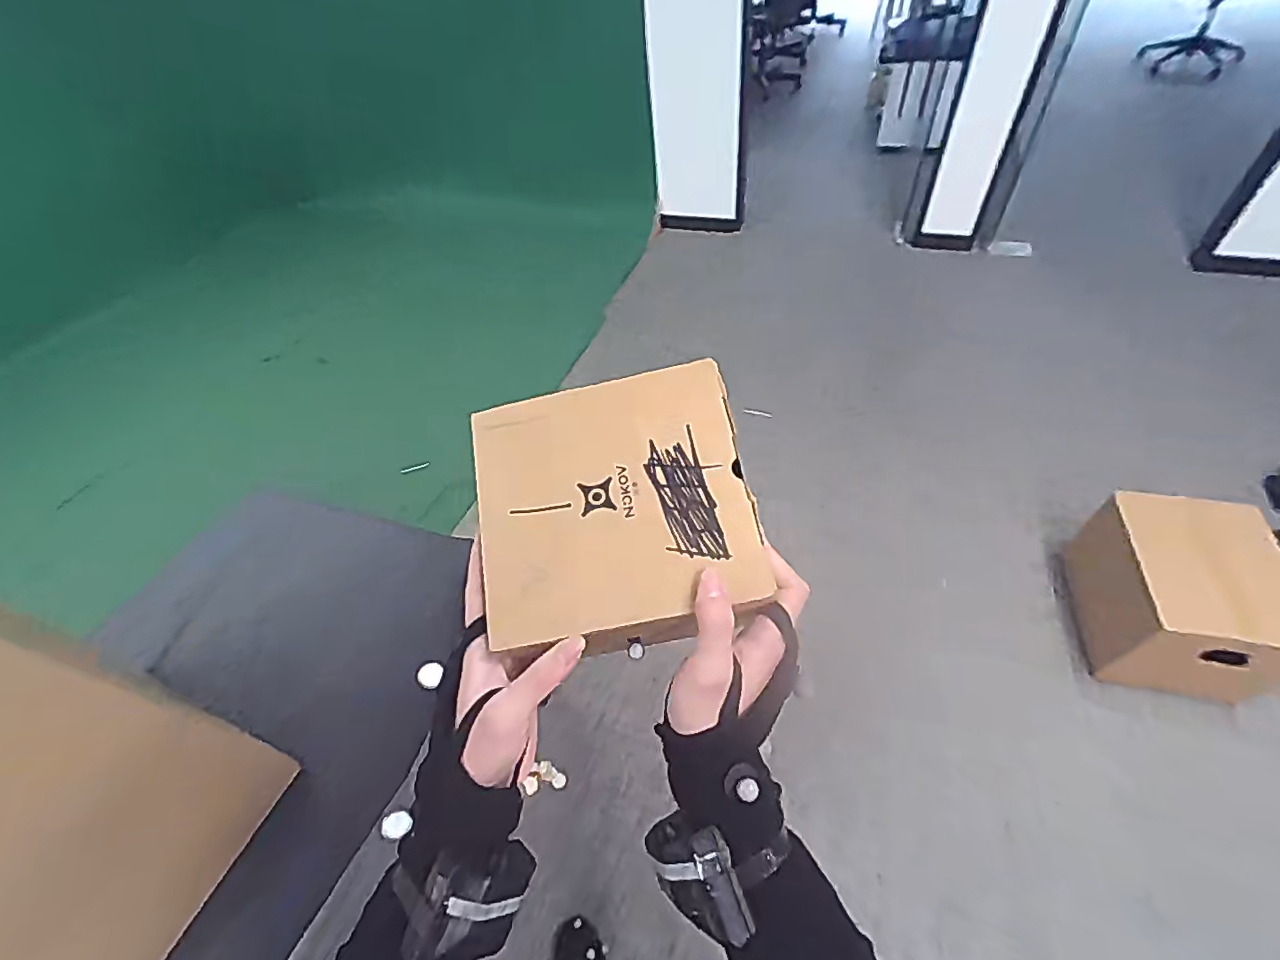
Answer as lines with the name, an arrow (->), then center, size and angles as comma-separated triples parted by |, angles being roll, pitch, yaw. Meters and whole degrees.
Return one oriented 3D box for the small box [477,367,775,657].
small box -> -0.009, 0.039, 0.423 | 0.179, 0.176, 0.168 | -11, 69, 3
